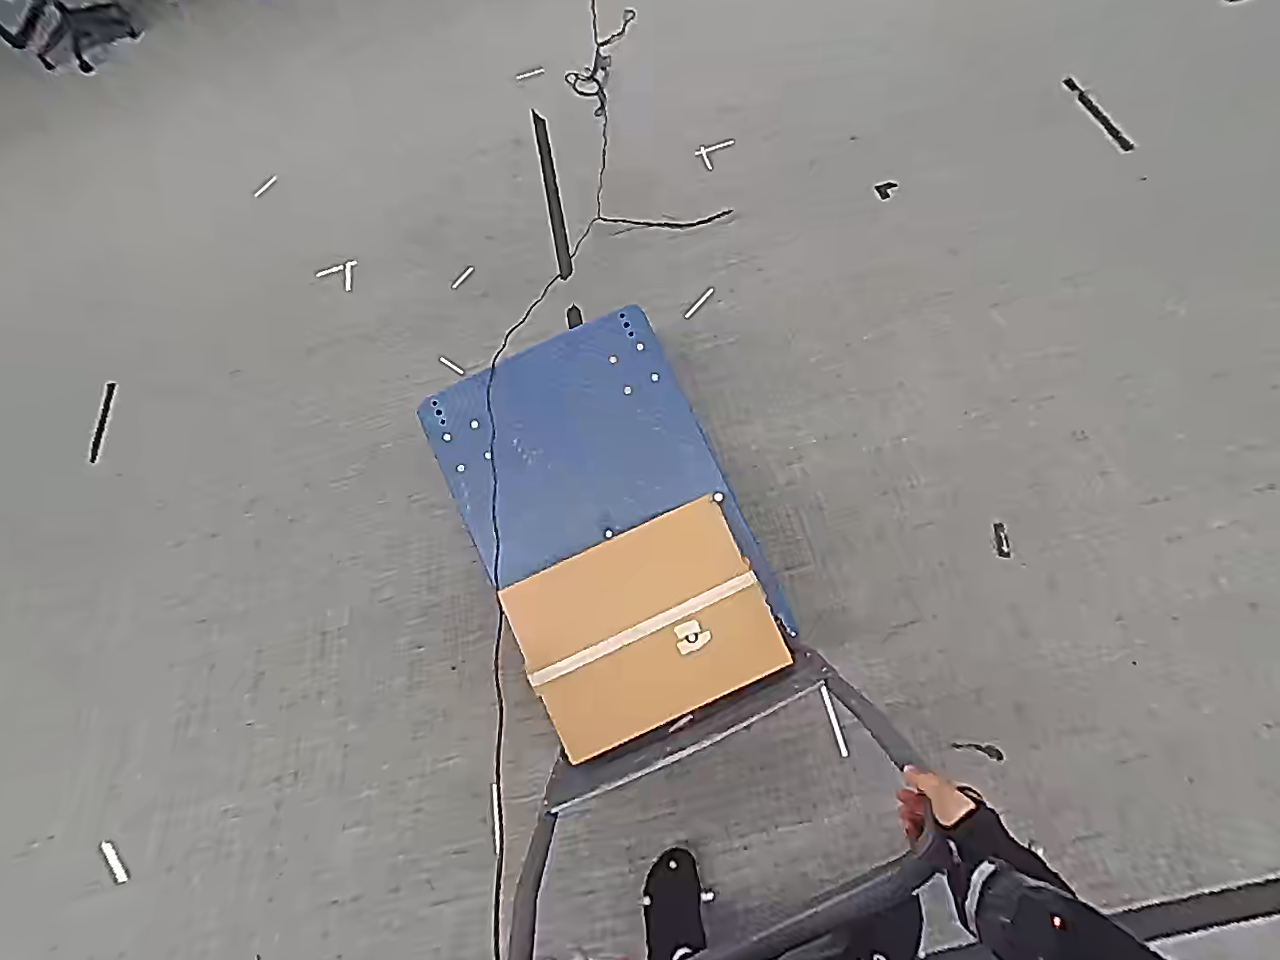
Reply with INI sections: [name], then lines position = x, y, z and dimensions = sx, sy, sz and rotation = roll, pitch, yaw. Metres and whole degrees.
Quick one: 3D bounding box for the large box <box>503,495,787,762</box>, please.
[large box]
position = 0.007, 0.261, 1.060
dimensions = 0.408, 0.320, 0.320
rotation = -26, 86, -2
